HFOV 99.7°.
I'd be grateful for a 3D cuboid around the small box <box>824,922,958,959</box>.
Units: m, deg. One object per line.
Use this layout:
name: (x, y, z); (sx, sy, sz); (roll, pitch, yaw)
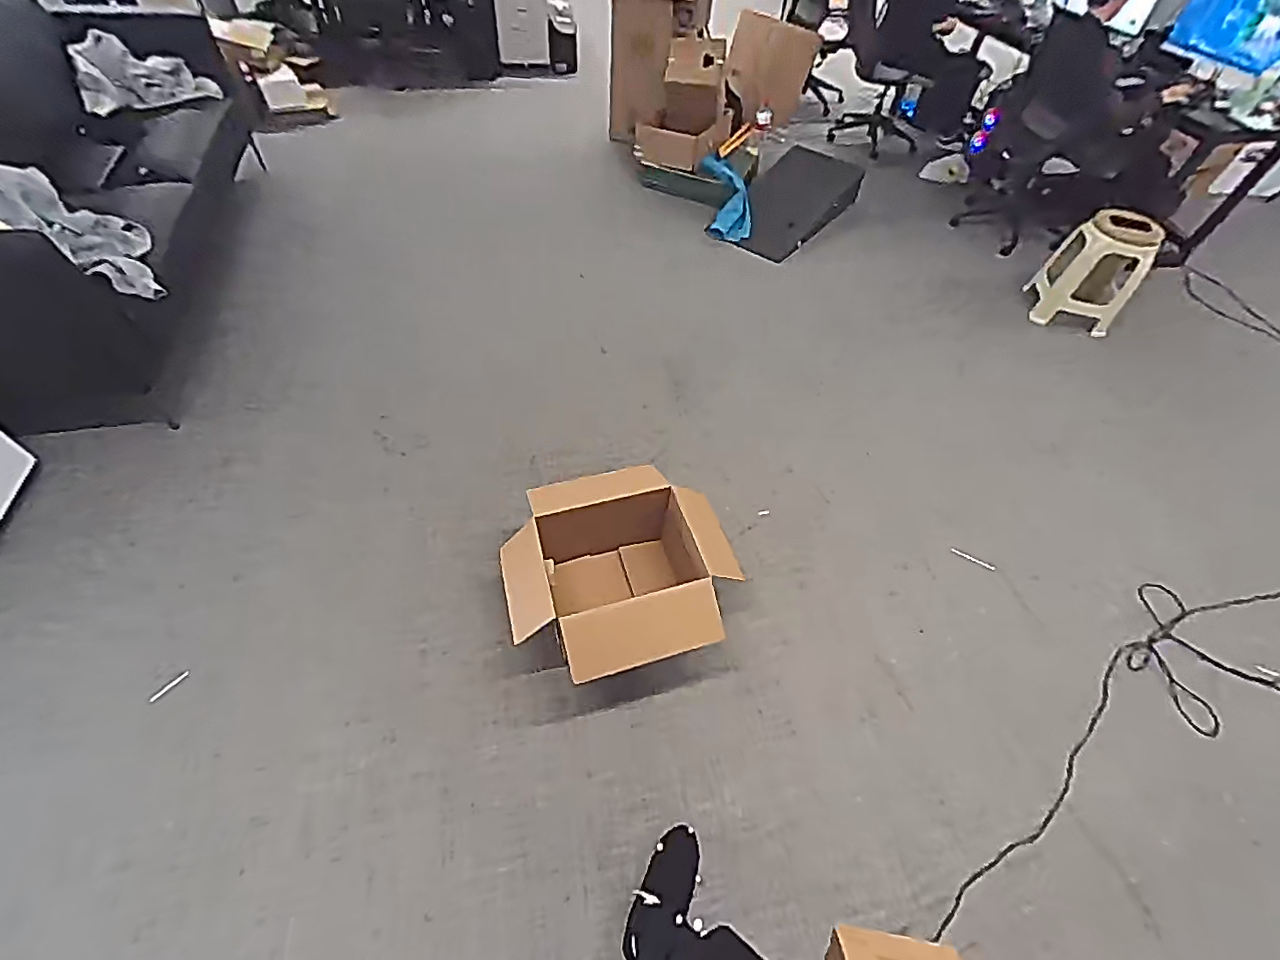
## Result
small box: (0.327, 0.712, 0.667); (0.168, 0.179, 0.176); (9, 91, 5)
